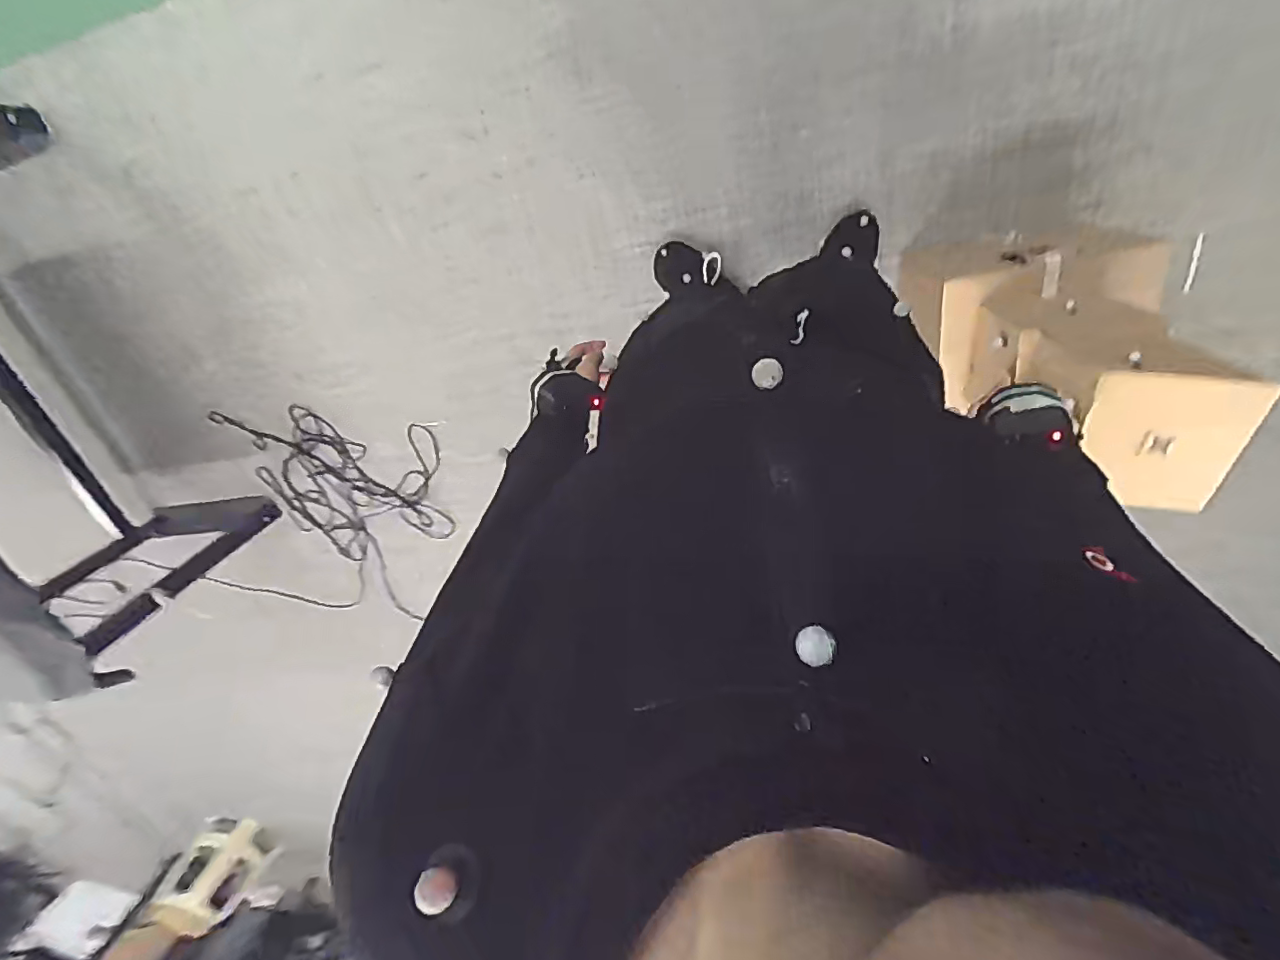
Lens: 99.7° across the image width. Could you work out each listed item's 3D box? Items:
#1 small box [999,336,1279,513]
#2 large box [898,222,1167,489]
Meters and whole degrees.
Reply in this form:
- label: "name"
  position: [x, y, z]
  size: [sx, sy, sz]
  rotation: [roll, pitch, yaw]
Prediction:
- label: "small box"
  position: [0.610, -0.079, 0.694]
  size: [0.179, 0.176, 0.168]
  rotation: [7, 121, 8]
- label: "large box"
  position: [0.708, -0.243, 1.058]
  size: [0.320, 0.320, 0.408]
  rotation: [-5, 120, 15]
